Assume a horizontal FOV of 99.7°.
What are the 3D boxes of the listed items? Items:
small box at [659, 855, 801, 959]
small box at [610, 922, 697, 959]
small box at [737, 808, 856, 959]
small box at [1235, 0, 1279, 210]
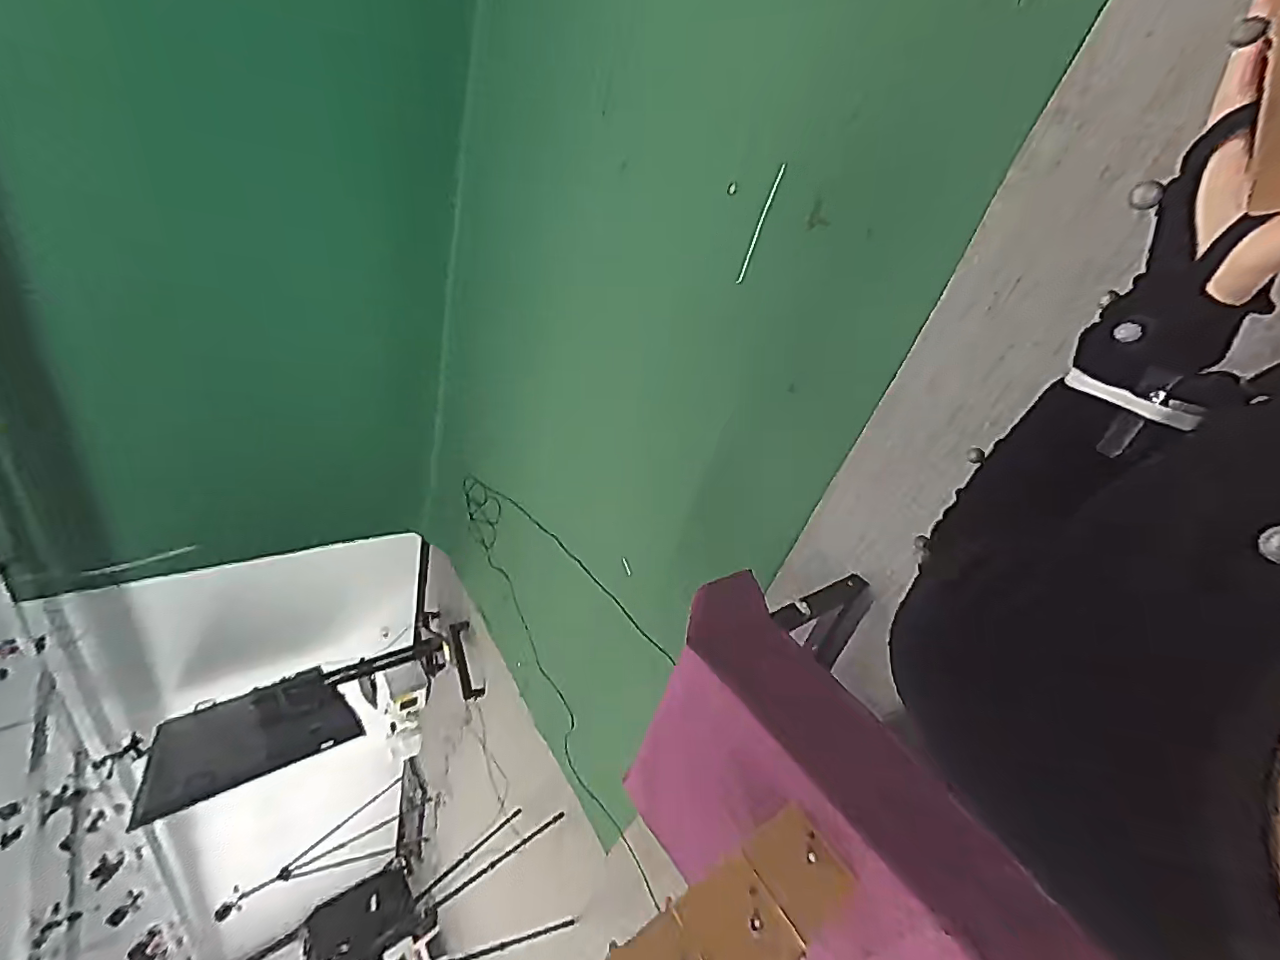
[{"bbox_3d":[0.134,0.777,0.897,0.168,0.176,0.179,45,129,36],"label":"small box"},{"bbox_3d":[0.009,0.799,0.792,0.179,0.176,0.168,47,131,35],"label":"small box"},{"bbox_3d":[0.262,0.756,0.996,0.168,0.176,0.179,44,129,35],"label":"small box"},{"bbox_3d":[0.335,-0.232,0.173,0.168,0.179,0.176,10,71,45],"label":"small box"}]
